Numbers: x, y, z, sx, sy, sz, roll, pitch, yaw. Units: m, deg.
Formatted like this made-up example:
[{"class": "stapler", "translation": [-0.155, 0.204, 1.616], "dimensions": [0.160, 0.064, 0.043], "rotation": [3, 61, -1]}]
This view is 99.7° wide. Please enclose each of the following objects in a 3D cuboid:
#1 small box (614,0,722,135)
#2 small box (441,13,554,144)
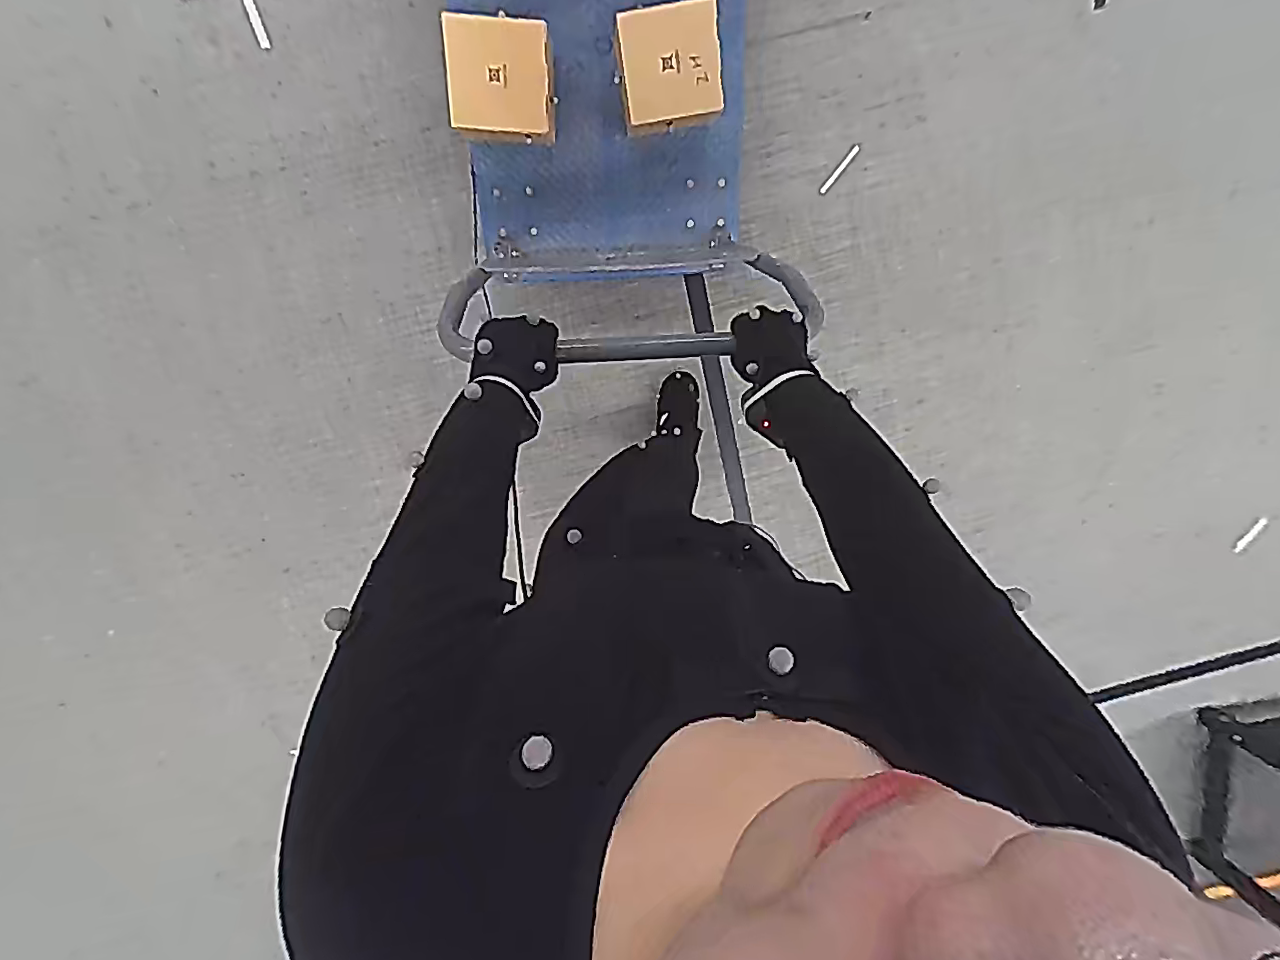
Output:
[{"class": "small box", "translation": [0.050, -0.771, 1.024], "dimensions": [0.179, 0.176, 0.168], "rotation": [-10, 117, 1]}, {"class": "small box", "translation": [-0.257, -0.742, 1.017], "dimensions": [0.179, 0.176, 0.168], "rotation": [-1, 116, -6]}]
